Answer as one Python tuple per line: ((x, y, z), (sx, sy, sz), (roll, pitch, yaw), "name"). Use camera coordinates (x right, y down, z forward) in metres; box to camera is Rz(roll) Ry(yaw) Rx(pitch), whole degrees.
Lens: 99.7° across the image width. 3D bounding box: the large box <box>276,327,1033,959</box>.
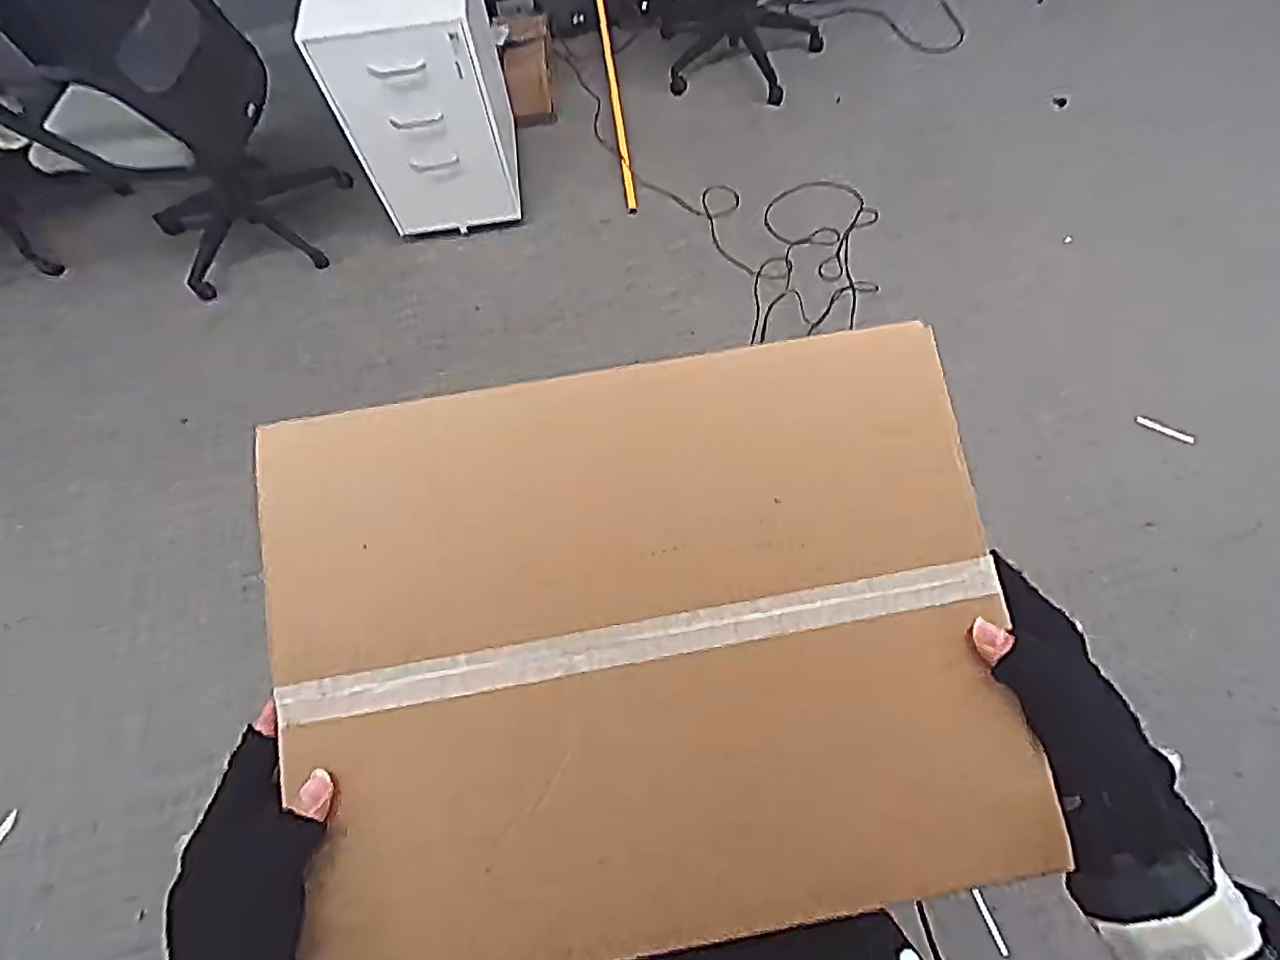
((0.000, 0.105, 0.460), (0.408, 0.320, 0.320), (-10, 81, -2), "large box")
